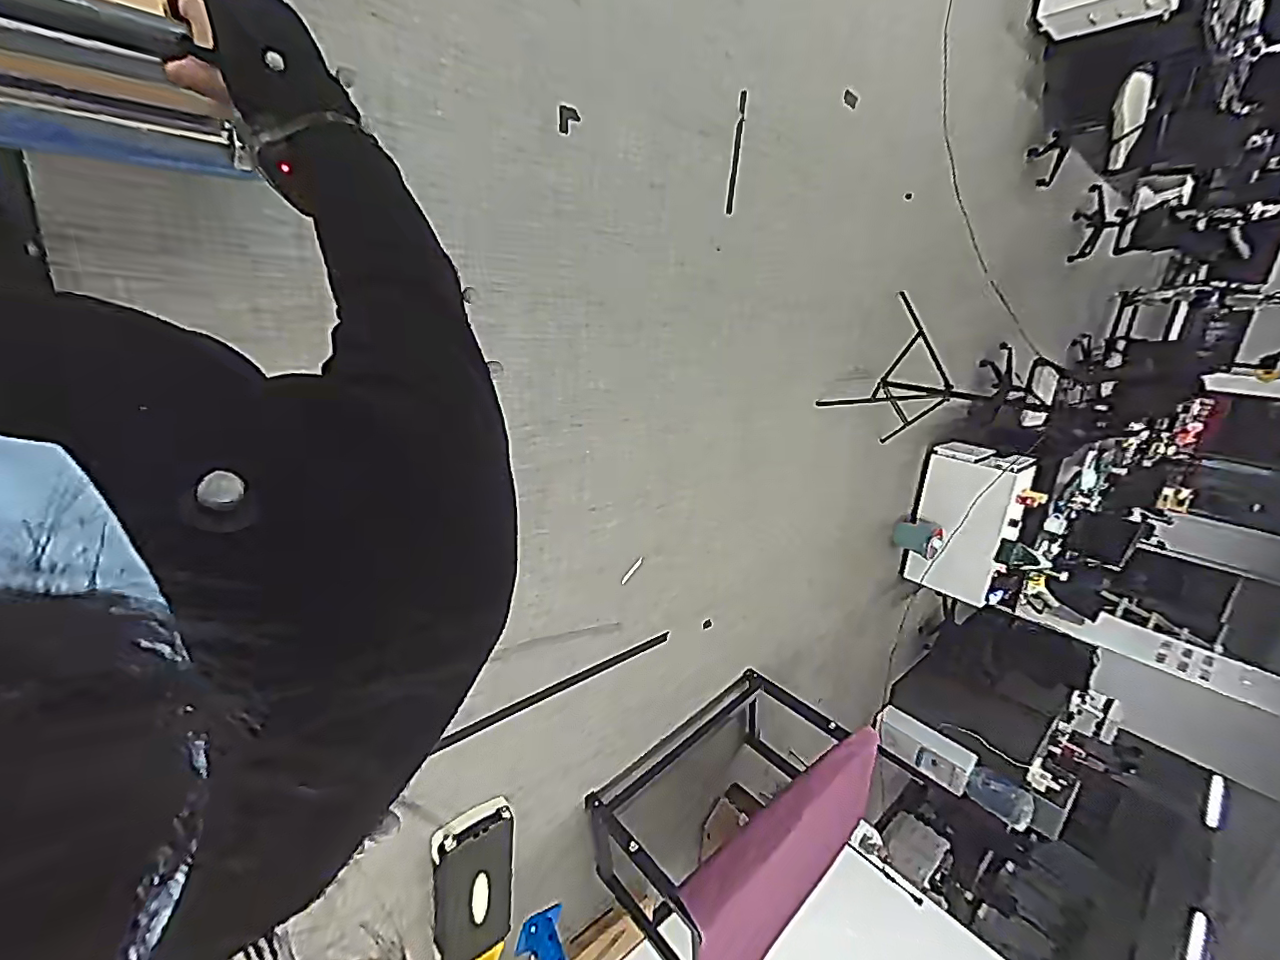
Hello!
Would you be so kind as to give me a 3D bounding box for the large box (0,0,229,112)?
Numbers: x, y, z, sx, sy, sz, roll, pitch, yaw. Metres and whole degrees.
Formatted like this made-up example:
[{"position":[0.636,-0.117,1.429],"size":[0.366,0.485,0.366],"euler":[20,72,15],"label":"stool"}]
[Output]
[{"position":[-0.785,-0.693,0.646],"size":[0.408,0.320,0.320],"euler":[-13,115,-40],"label":"large box"}]
